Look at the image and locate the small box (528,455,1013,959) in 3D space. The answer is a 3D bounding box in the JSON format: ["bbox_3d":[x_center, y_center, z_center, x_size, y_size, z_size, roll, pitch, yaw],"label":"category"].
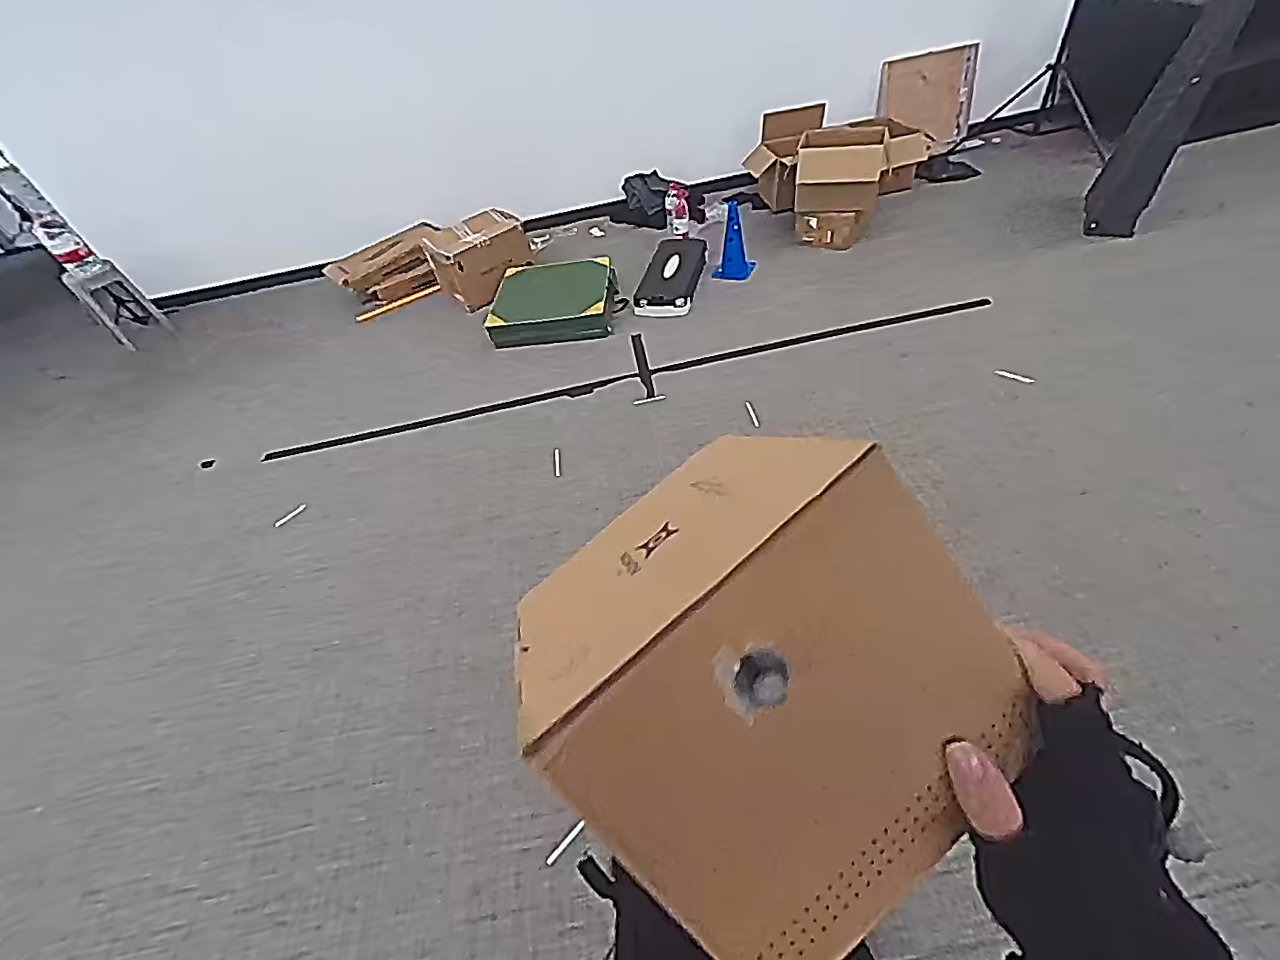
[{"bbox_3d":[0.057,0.108,0.307,0.179,0.176,0.168,-40,13,-5],"label":"small box"}]
